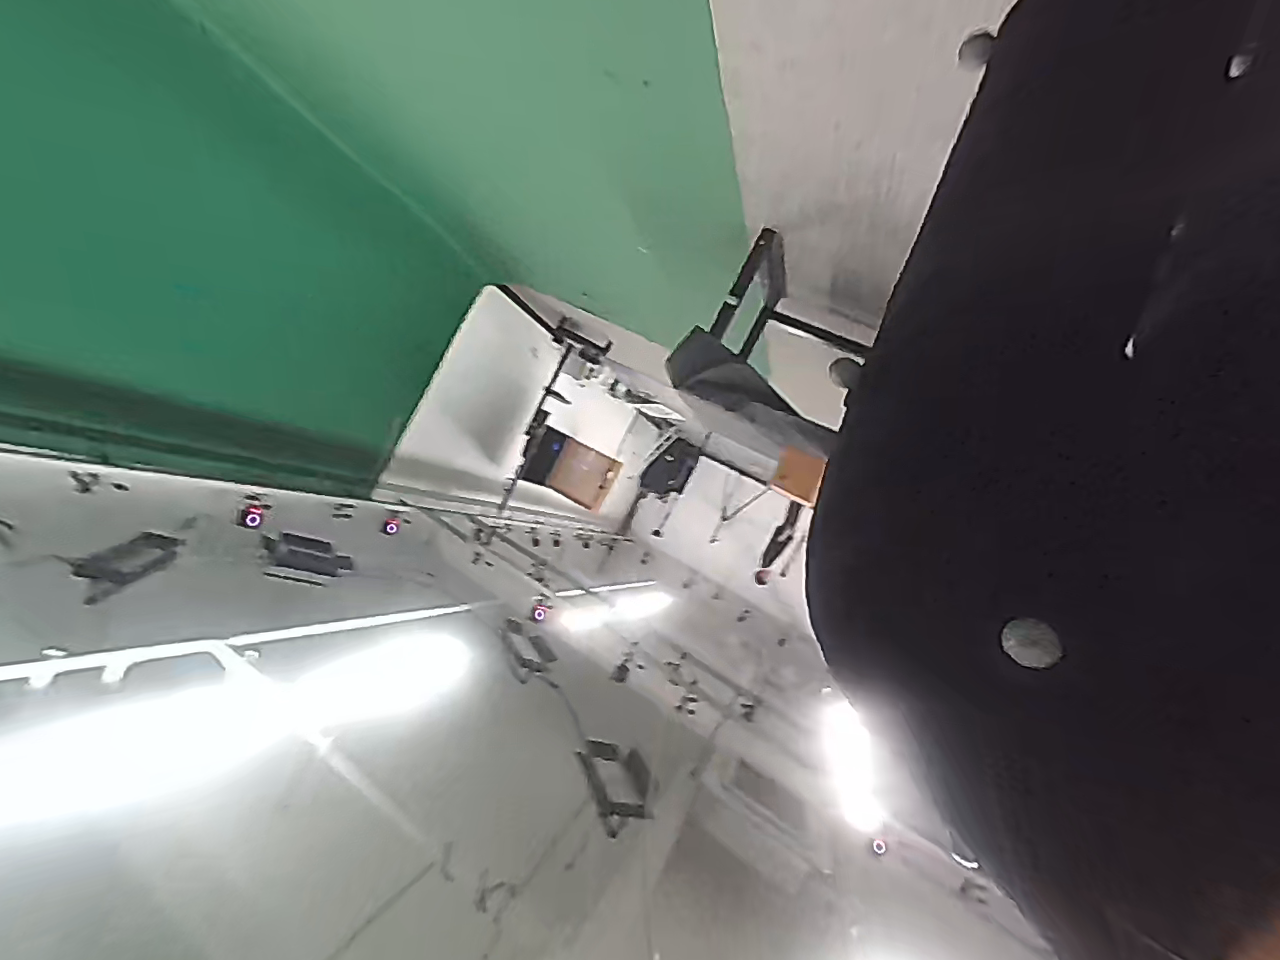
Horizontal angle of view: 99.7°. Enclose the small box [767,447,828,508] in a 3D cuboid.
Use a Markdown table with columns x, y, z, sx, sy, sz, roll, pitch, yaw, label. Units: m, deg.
| x | y | z | sx | sy | sz | roll | pitch | yaw | label |
| --- | --- | --- | --- | --- | --- | --- | --- | --- | --- |
| 0.621 | -0.010 | 2.118 | 0.179 | 0.176 | 0.168 | 29 | -179 | 20 | small box |
